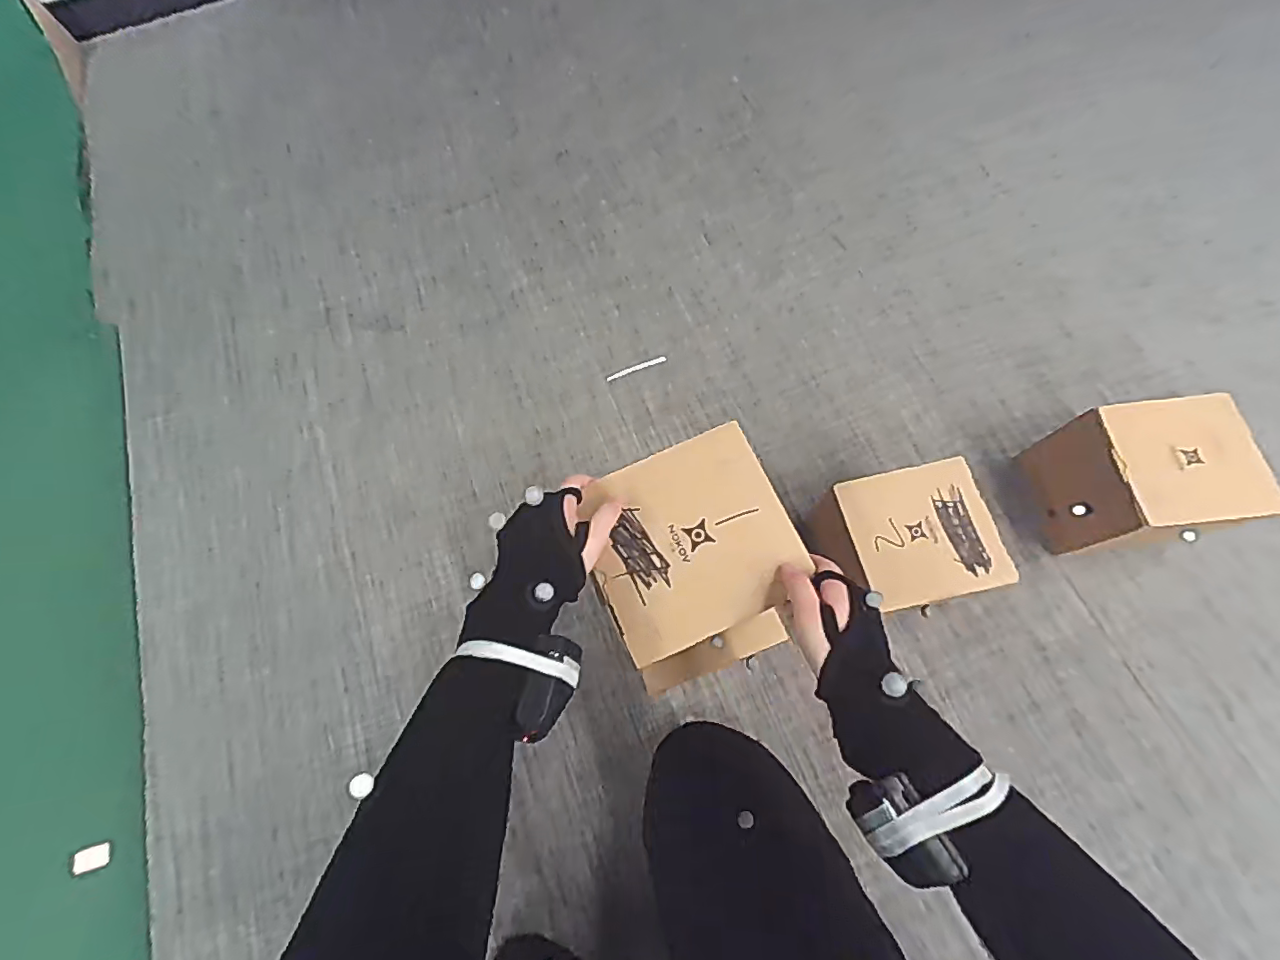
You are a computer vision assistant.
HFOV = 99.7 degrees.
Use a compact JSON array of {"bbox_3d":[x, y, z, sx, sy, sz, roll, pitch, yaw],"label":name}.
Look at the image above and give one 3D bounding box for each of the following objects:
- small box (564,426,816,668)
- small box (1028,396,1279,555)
[{"bbox_3d":[0.044,0.076,0.547,0.179,0.176,0.168,-23,74,-5],"label":"small box"},{"bbox_3d":[0.681,0.003,0.748,0.179,0.176,0.168,-6,70,1],"label":"small box"}]
